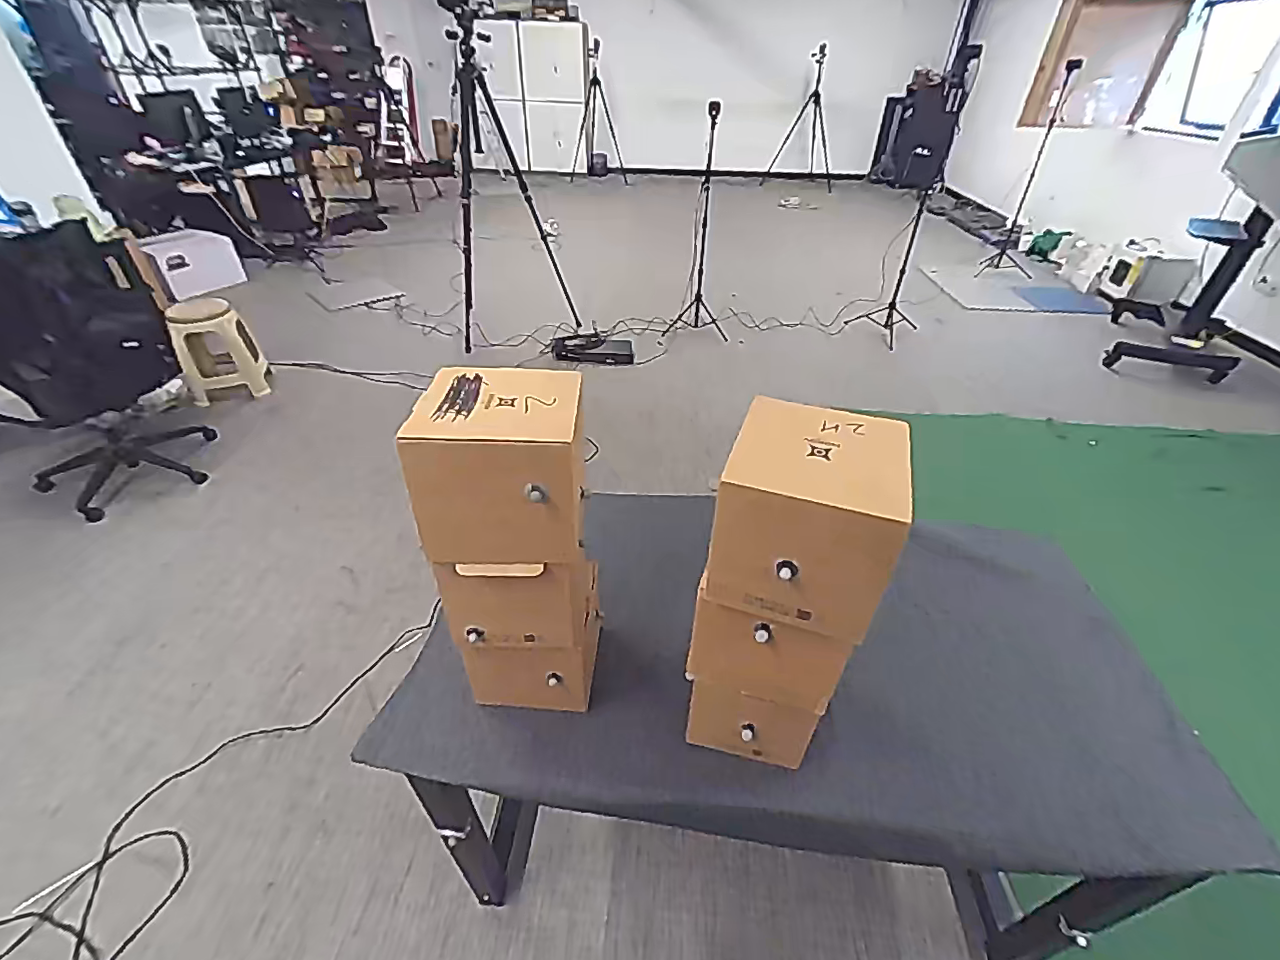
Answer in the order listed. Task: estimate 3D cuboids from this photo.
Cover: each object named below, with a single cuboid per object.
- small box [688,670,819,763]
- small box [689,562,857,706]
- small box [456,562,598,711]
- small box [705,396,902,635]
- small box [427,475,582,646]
[{"bbox_3d":[0.165,0.282,0.794,0.168,0.176,0.179,8,38,11],"label":"small box"},{"bbox_3d":[0.169,0.158,0.688,0.179,0.176,0.168,11,39,15],"label":"small box"},{"bbox_3d":[-0.161,0.241,0.845,0.179,0.176,0.168,2,36,3],"label":"small box"},{"bbox_3d":[0.170,0.034,0.578,0.168,0.176,0.179,13,39,16],"label":"small box"},{"bbox_3d":[-0.169,0.111,0.745,0.168,0.176,0.179,0,35,-1],"label":"small box"}]
